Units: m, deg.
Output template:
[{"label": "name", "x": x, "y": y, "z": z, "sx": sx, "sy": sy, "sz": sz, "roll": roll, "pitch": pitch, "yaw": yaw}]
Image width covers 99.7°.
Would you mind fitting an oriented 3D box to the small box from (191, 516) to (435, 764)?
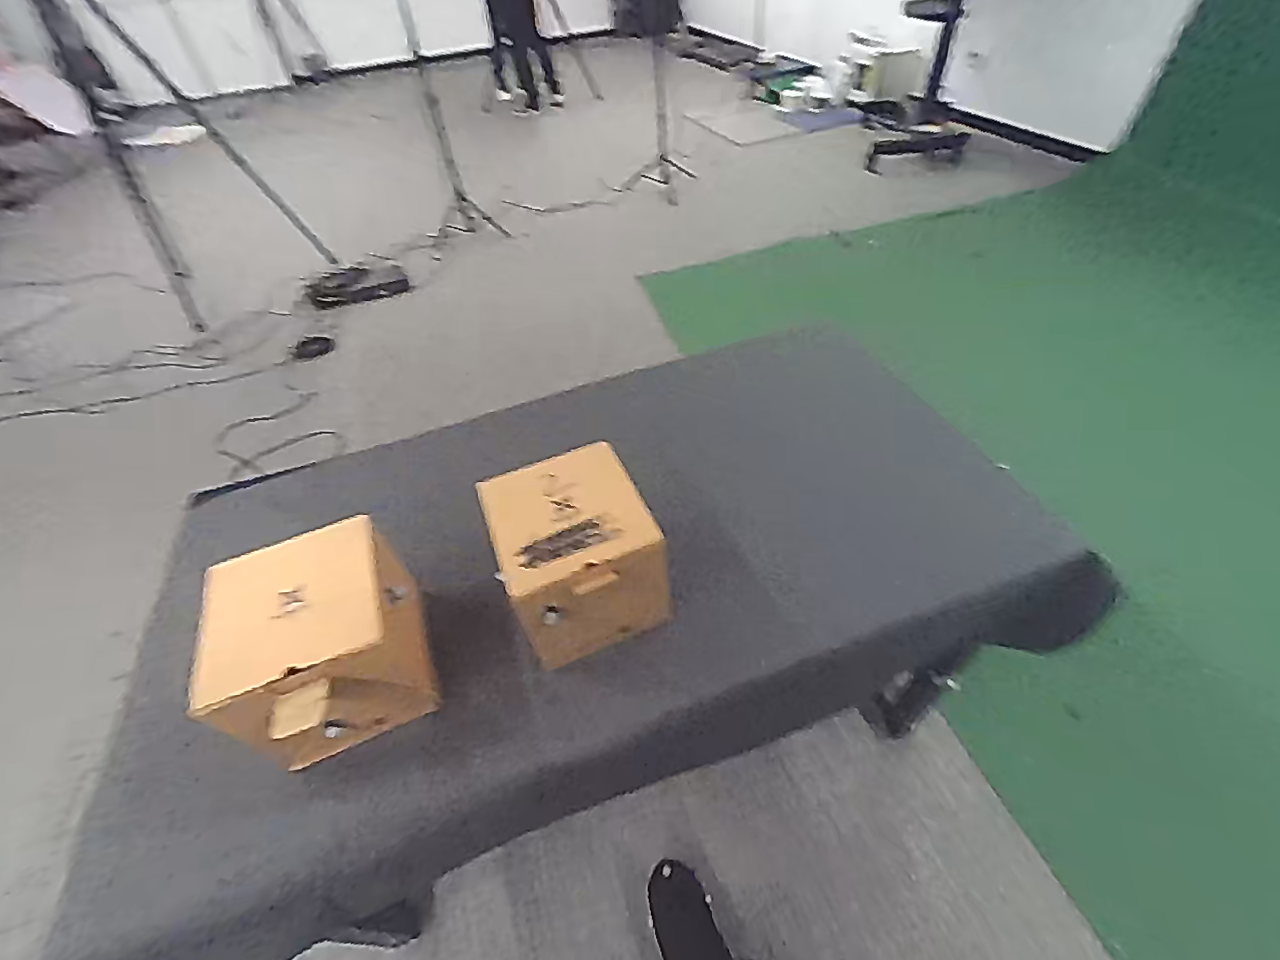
[{"label": "small box", "x": -0.346, "y": 0.177, "z": 0.602, "sx": 0.168, "sy": 0.176, "sz": 0.179, "roll": -20, "pitch": 49, "yaw": -14}]
